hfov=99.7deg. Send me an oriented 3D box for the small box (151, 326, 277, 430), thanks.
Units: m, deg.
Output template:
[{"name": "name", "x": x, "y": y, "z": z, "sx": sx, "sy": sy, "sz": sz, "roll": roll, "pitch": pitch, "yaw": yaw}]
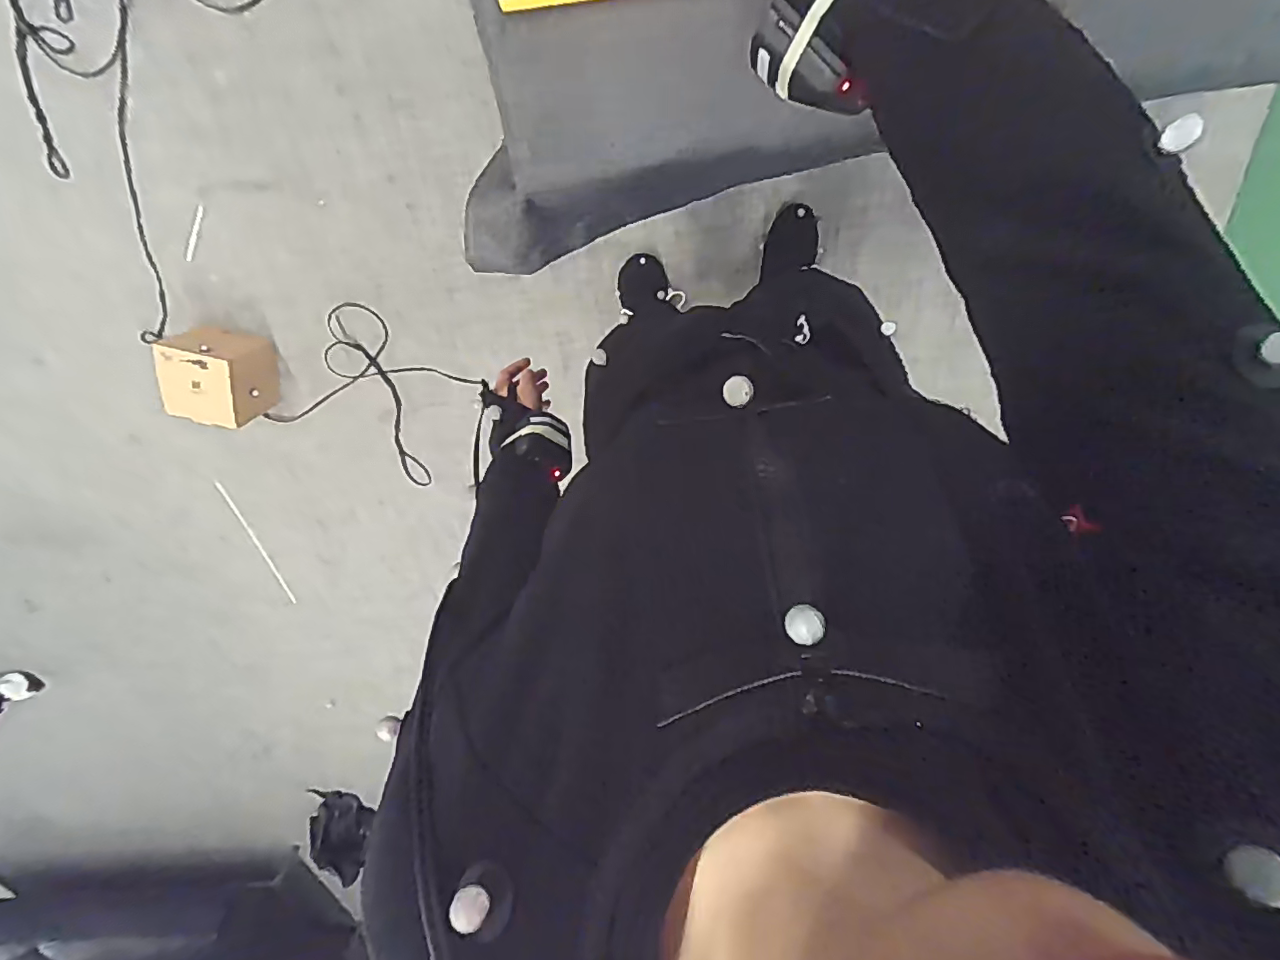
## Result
[{"name": "small box", "x": -1.007, "y": -0.249, "z": 1.297, "sx": 0.168, "sy": 0.176, "sz": 0.179, "roll": 14, "pitch": 119, "yaw": -5}]
